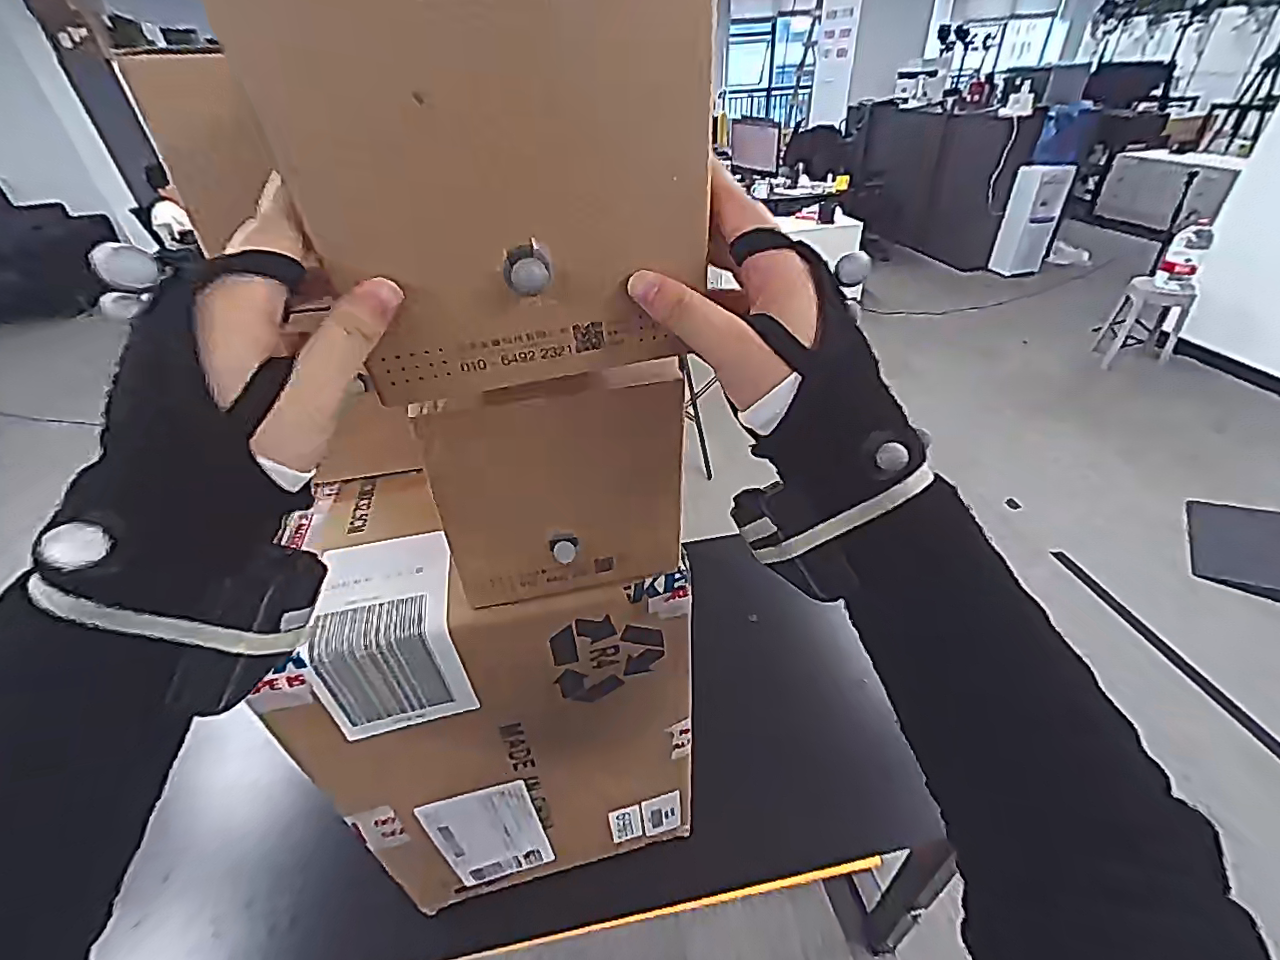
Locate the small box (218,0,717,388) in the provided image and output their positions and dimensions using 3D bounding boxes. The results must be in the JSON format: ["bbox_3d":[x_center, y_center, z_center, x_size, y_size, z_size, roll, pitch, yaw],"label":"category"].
[{"bbox_3d":[-0.070,-0.170,0.273,0.168,0.176,0.179,-12,44,-8],"label":"small box"}]

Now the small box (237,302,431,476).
[{"bbox_3d":[-0.255,-0.120,0.556,0.179,0.176,0.168,-10,36,-10],"label":"small box"}]

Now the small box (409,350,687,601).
[{"bbox_3d":[-0.068,-0.034,0.429,0.168,0.176,0.179,-10,39,-10],"label":"small box"}]

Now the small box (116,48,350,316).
[{"bbox_3d":[-0.260,-0.252,0.459,0.179,0.176,0.168,-12,35,-12],"label":"small box"}]
